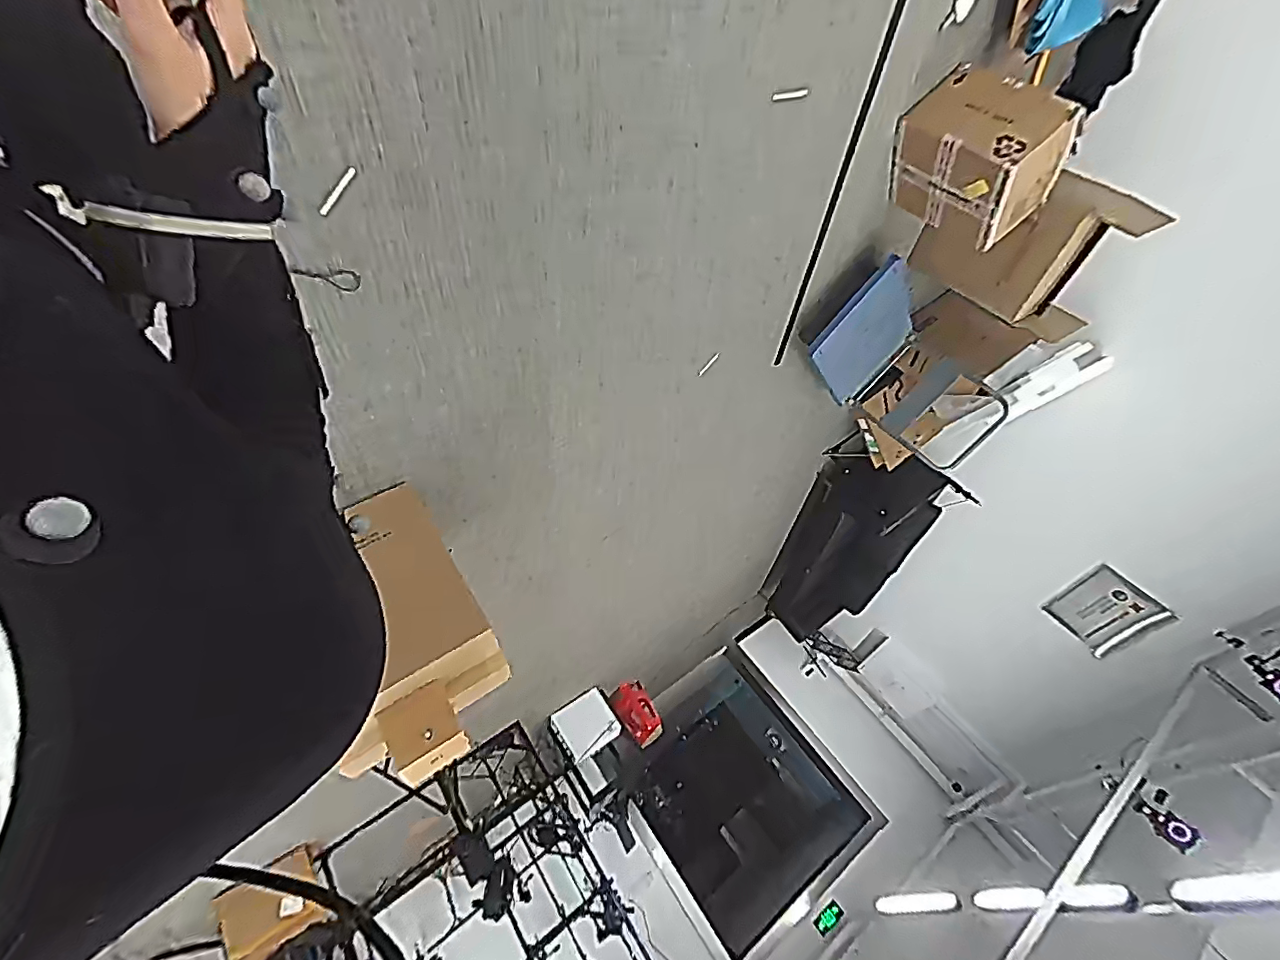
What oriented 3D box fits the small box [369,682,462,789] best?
[{"bbox_3d":[-0.607,0.683,1.455,0.179,0.176,0.168,-27,148,-28],"label":"small box"}]
